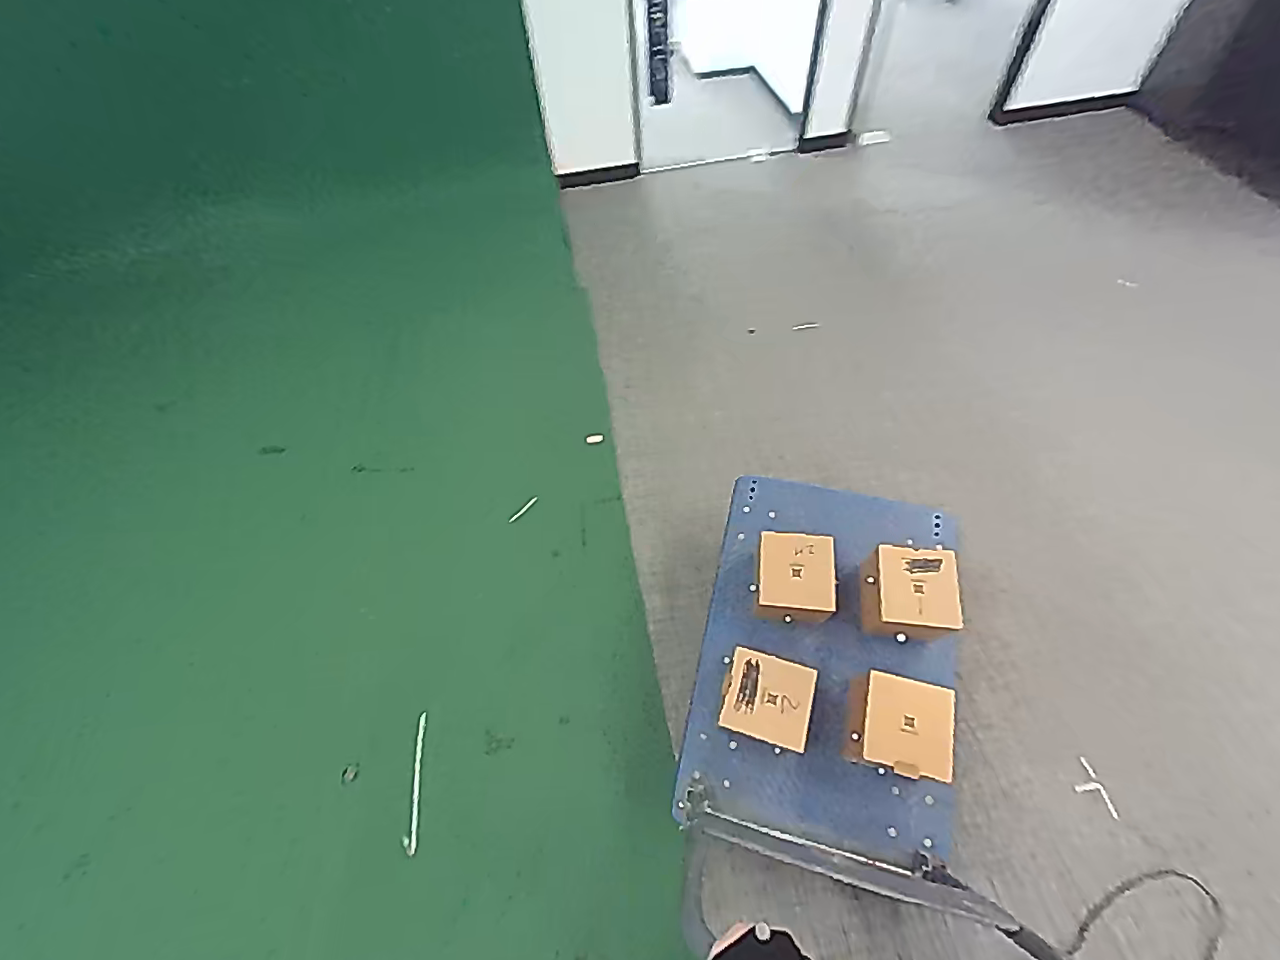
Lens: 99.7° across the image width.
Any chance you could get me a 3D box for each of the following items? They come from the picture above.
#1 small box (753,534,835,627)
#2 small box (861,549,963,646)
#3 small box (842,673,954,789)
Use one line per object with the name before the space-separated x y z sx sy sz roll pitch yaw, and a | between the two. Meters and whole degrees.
small box | 0.364 0.246 1.296 0.168 0.176 0.179 5 65 7
small box | 0.620 0.276 1.257 0.168 0.176 0.179 5 66 9
small box | 0.540 0.528 1.146 0.168 0.176 0.179 12 67 11
